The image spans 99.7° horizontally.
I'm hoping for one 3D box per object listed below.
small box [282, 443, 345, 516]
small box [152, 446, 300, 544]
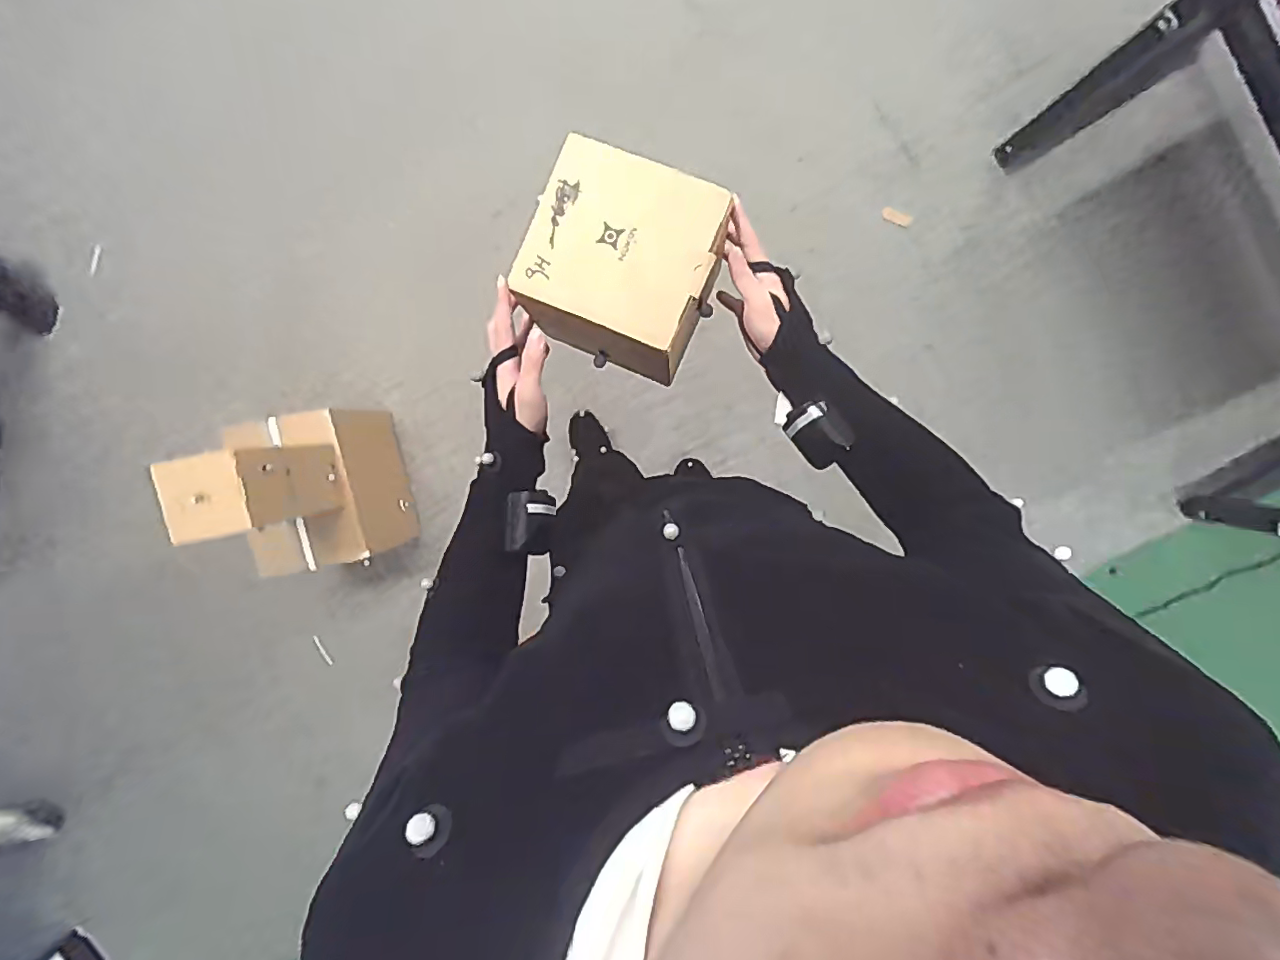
[{"bbox_3d":[-0.857,0.005,1.307,0.179,0.176,0.168,-9,96,3],"label":"small box"},{"bbox_3d":[-0.858,0.025,1.146,0.179,0.176,0.168,-11,95,4],"label":"small box"}]
